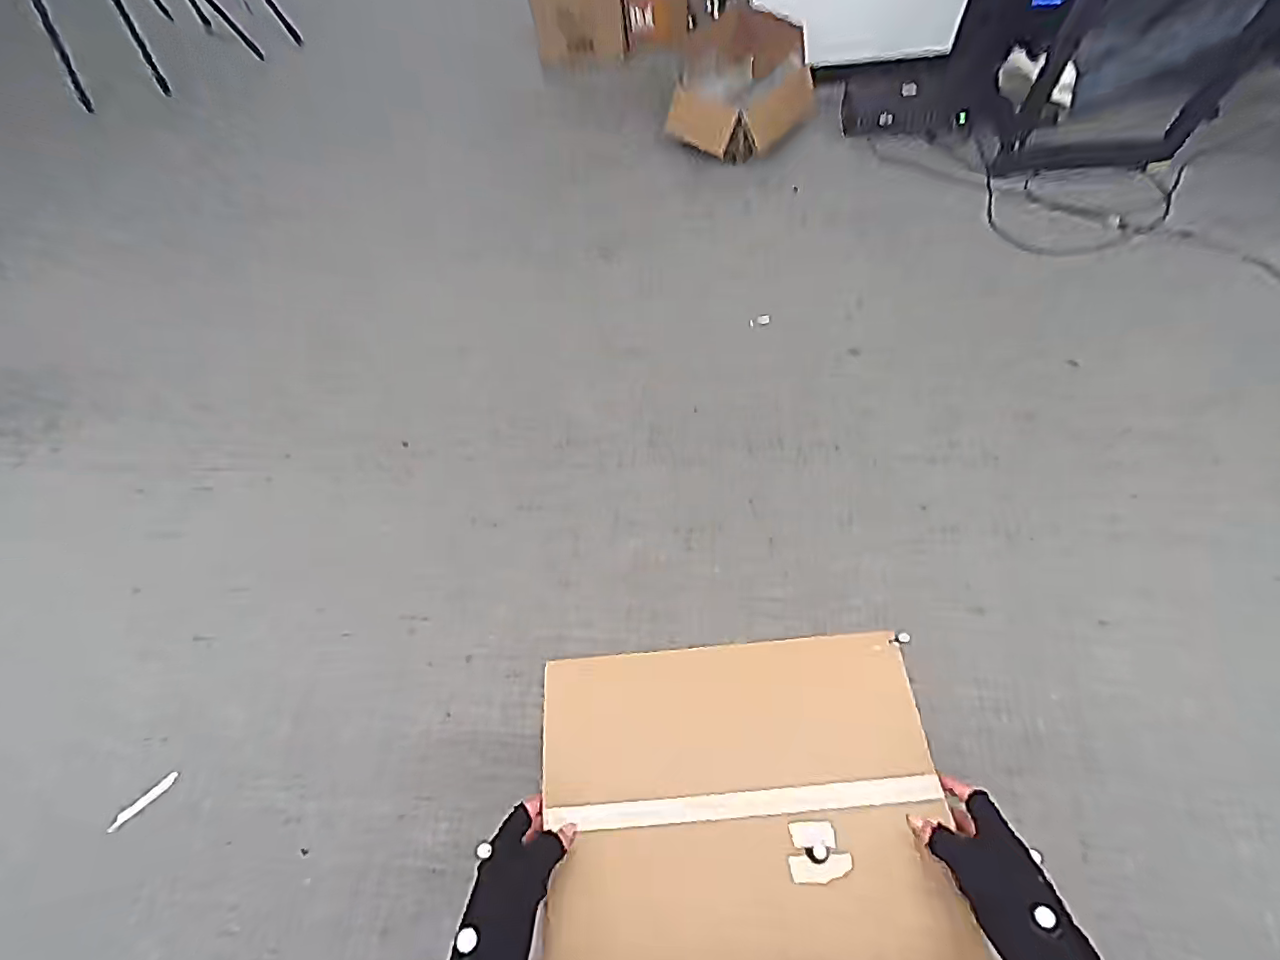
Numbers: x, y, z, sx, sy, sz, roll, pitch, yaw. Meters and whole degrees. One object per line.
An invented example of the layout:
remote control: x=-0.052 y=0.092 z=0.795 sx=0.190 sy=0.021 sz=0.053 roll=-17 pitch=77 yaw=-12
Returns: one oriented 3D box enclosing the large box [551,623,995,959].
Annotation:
large box: x=0.115 y=0.390 z=0.682 sx=0.408 sy=0.320 sz=0.320 roll=-6 pitch=63 yaw=1
